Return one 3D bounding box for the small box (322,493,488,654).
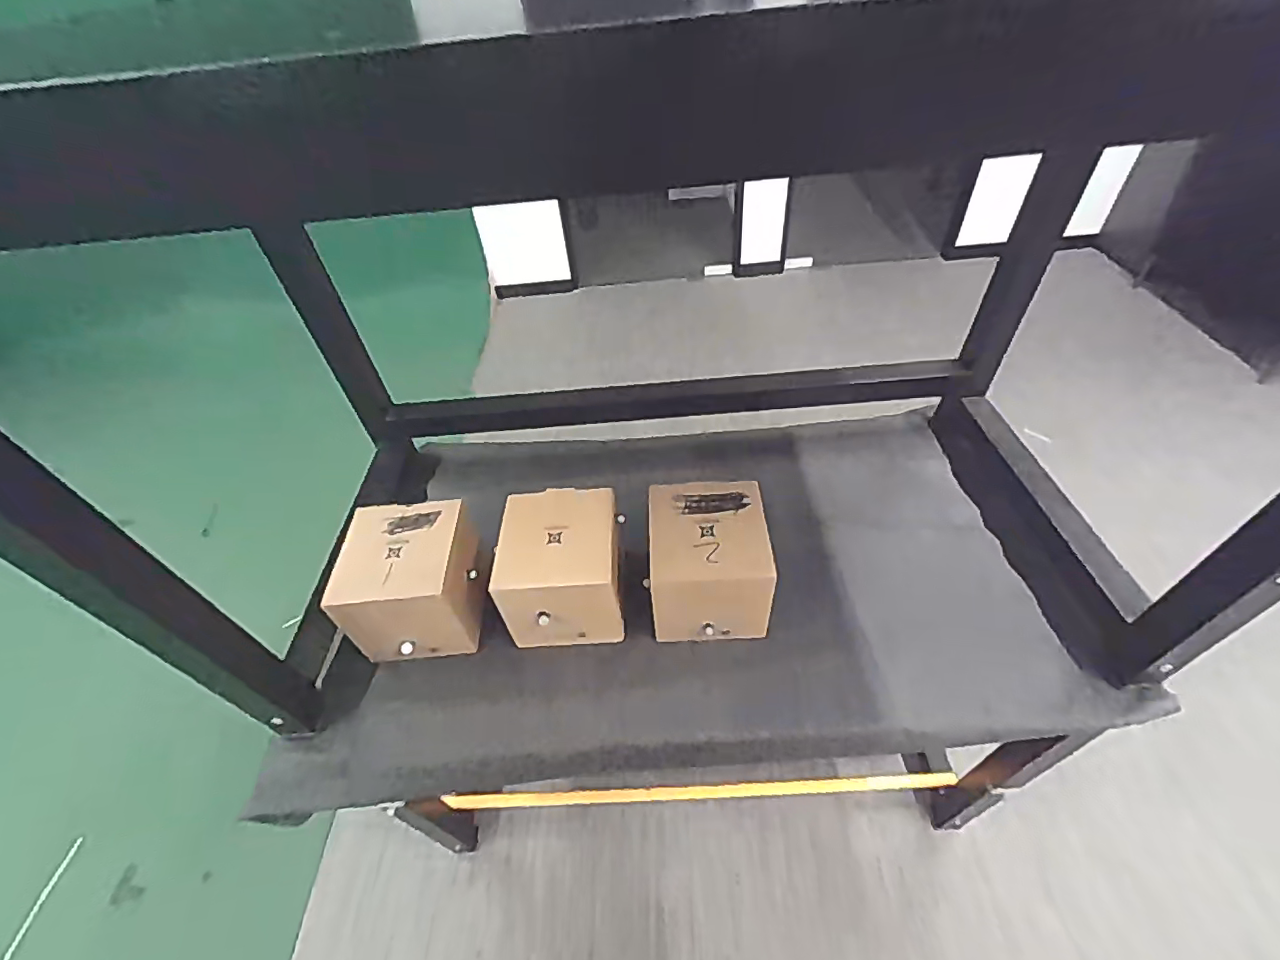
[{"bbox_3d":[-0.342,0.144,0.832,0.168,0.176,0.179,-5,46,1],"label":"small box"}]

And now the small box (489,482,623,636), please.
[{"bbox_3d":[-0.115,0.126,0.829,0.168,0.176,0.179,-4,45,2],"label":"small box"}]
